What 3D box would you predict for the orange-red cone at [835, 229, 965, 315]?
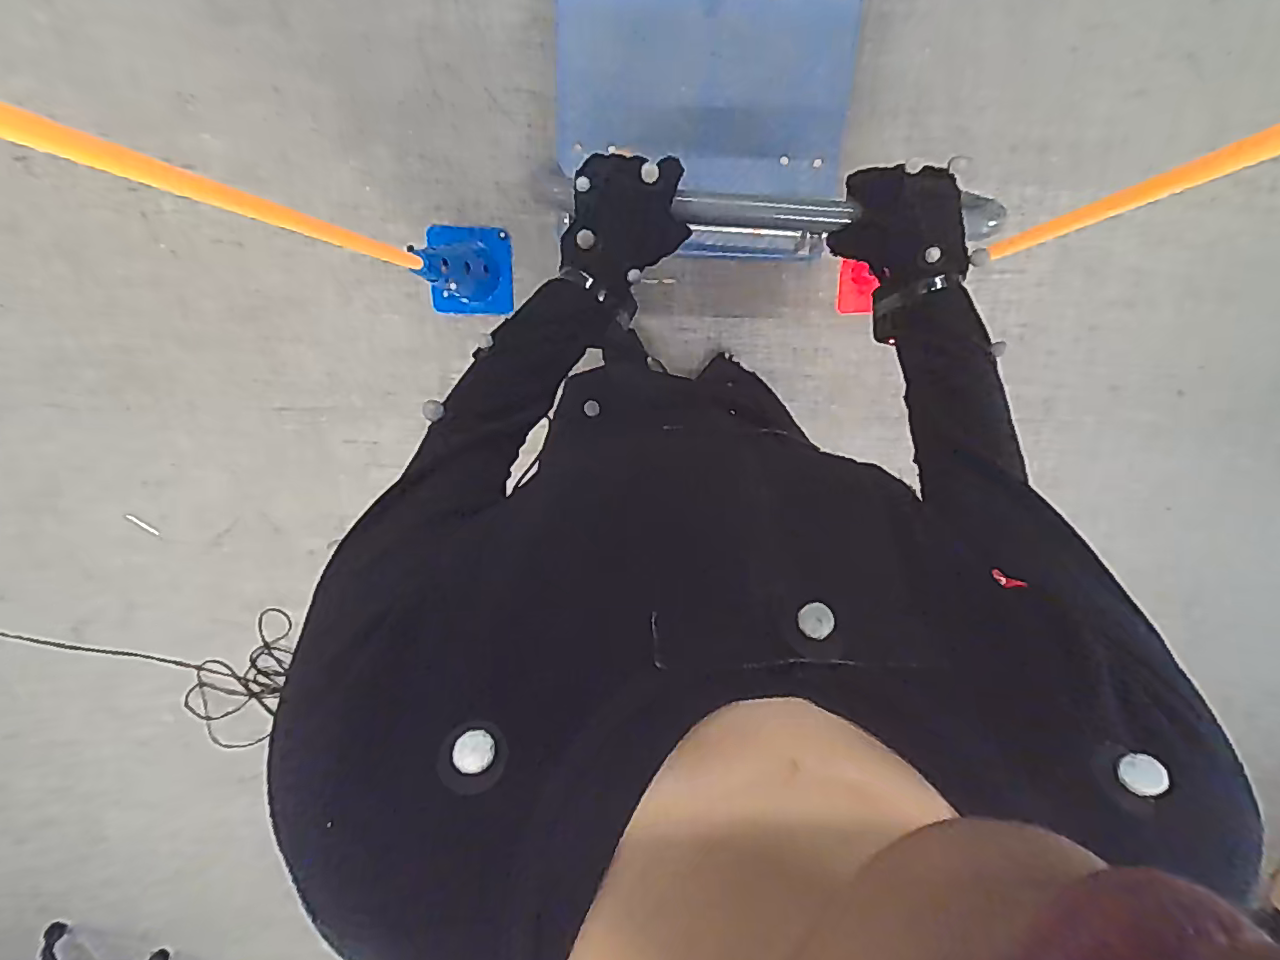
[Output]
[{"bbox_3d":[0.594,-0.465,1.188,0.199,0.360,0.198,1,108,0],"label":"orange-red cone"}]
